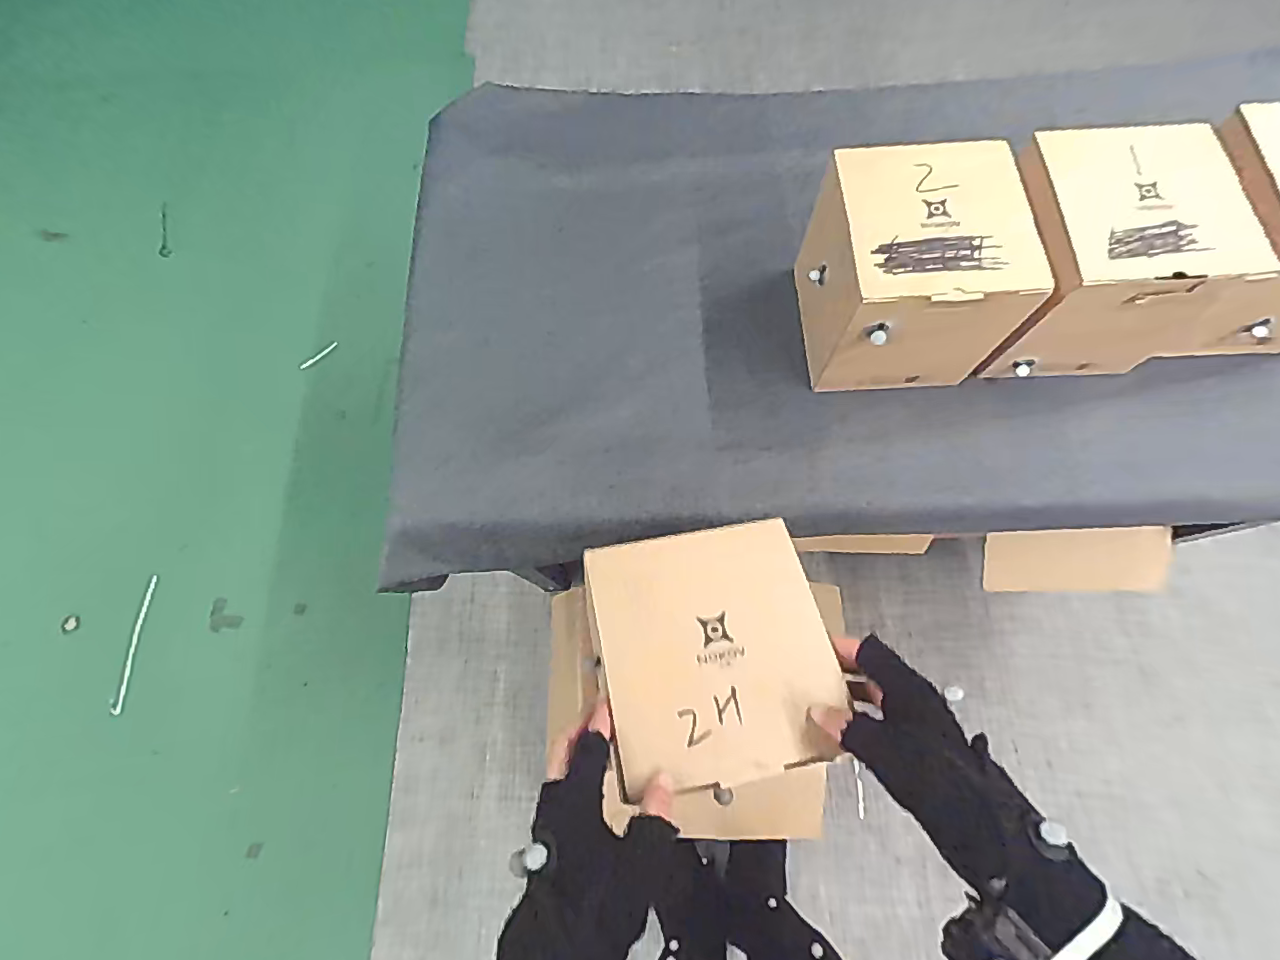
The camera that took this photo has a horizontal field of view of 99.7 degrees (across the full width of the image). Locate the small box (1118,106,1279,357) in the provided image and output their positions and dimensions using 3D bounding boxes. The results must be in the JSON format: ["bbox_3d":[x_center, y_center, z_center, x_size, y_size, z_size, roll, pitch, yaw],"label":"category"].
[{"bbox_3d":[0.656,-0.247,0.561,0.168,0.176,0.179,-1,72,2],"label":"small box"}]

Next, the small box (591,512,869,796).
[{"bbox_3d":[0.051,0.150,0.453,0.168,0.176,0.179,-9,61,-8],"label":"small box"}]
